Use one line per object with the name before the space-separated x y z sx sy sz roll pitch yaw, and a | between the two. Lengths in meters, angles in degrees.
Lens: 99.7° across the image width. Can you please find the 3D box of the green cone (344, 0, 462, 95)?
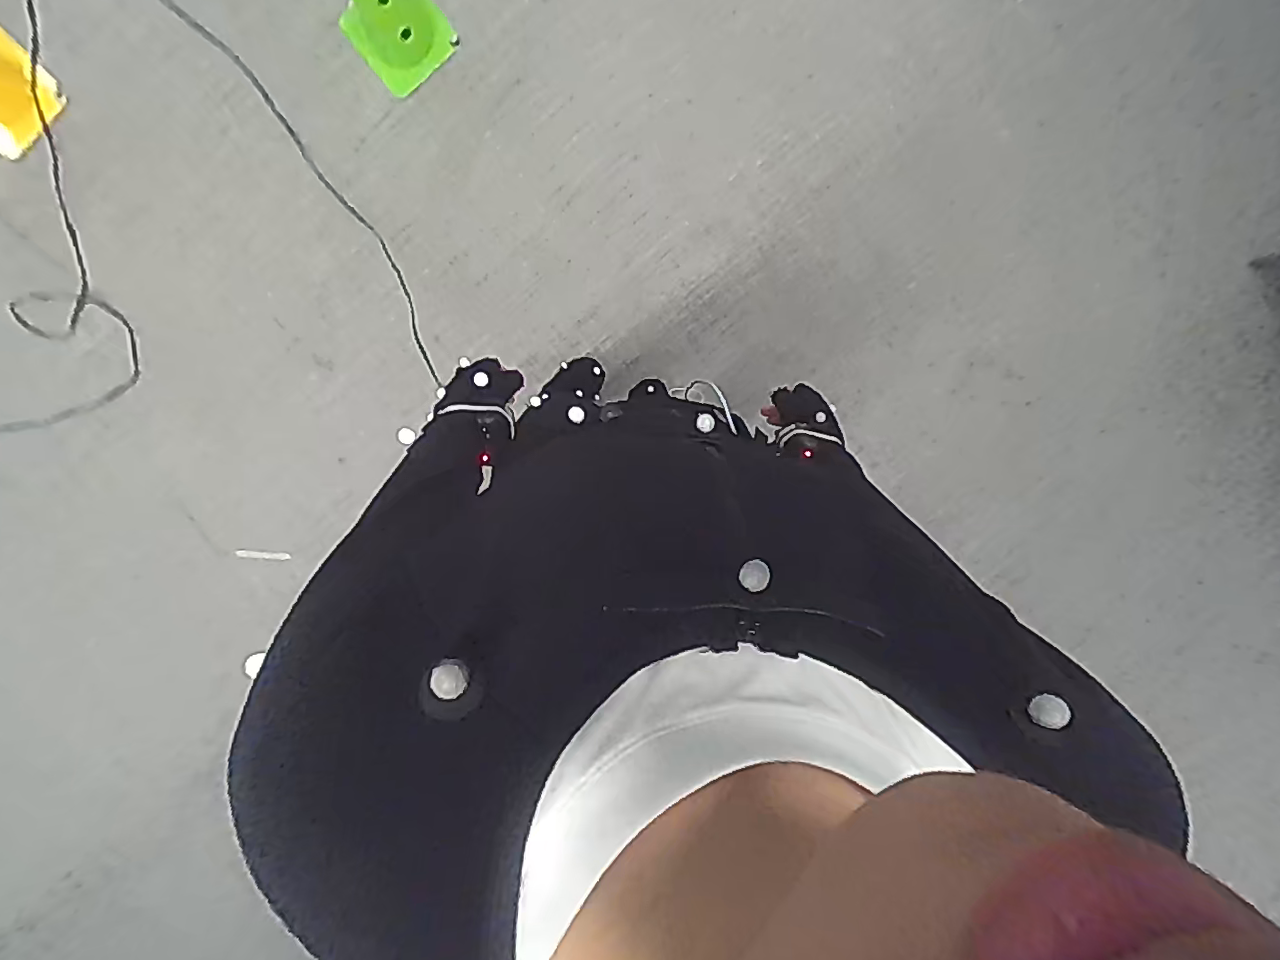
green cone | -0.523 -0.974 1.049 0.202 0.368 0.200 -39 102 6
